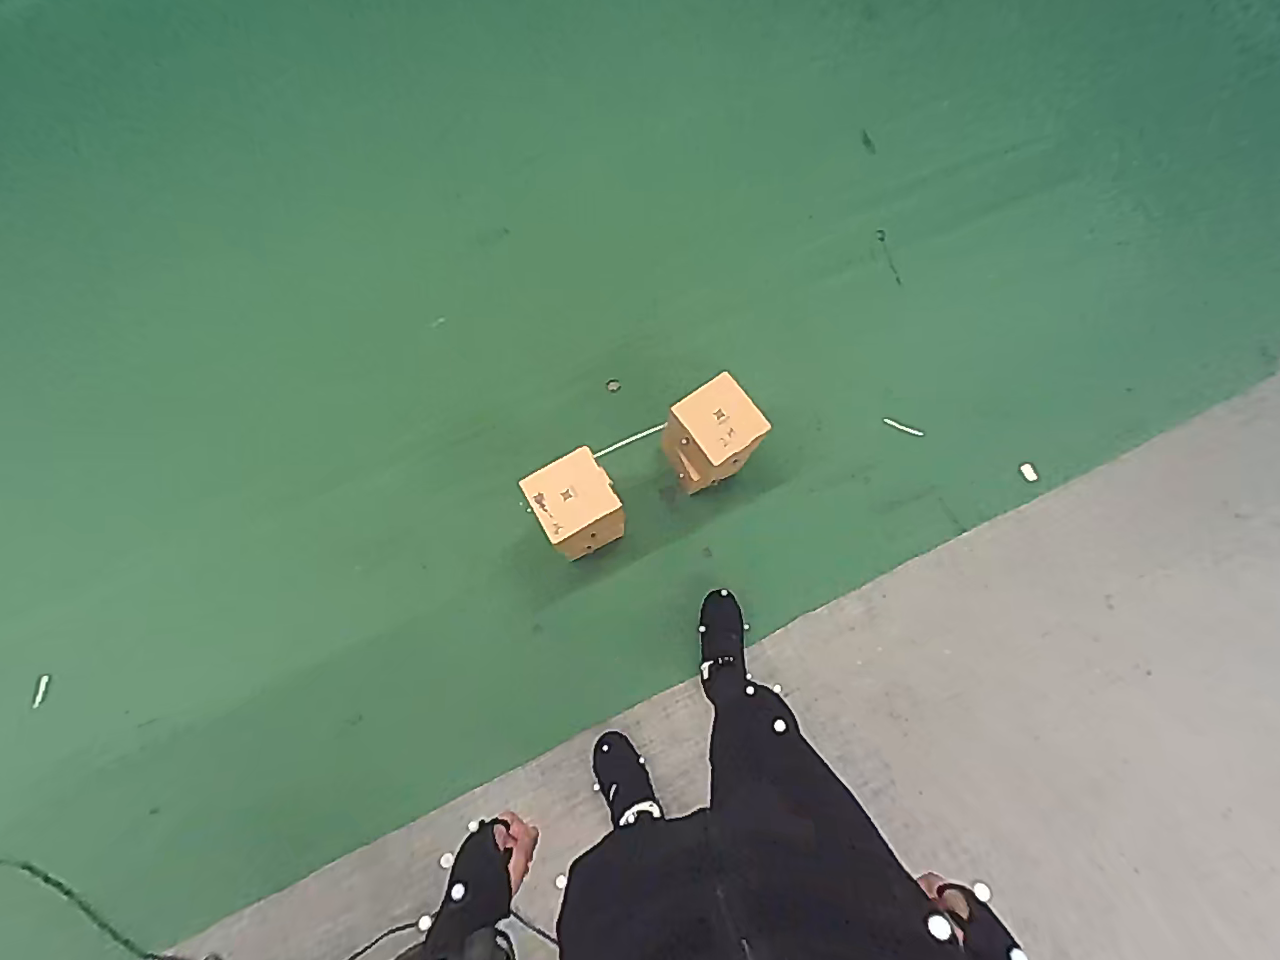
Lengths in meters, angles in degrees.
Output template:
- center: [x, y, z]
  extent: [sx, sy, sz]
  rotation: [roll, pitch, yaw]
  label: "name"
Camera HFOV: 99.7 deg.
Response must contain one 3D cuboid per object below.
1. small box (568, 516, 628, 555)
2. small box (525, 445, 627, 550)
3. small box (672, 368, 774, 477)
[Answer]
- center: [-0.139, 0.086, 1.425]
  extent: [0.168, 0.176, 0.179]
  rotation: [-27, 76, -6]
  label: "small box"
- center: [-0.145, 0.047, 1.267]
  extent: [0.179, 0.176, 0.168]
  rotation: [-29, 77, -8]
  label: "small box"
- center: [0.190, -0.131, 1.309]
  extent: [0.168, 0.176, 0.179]
  rotation: [-35, 80, -8]
  label: "small box"
